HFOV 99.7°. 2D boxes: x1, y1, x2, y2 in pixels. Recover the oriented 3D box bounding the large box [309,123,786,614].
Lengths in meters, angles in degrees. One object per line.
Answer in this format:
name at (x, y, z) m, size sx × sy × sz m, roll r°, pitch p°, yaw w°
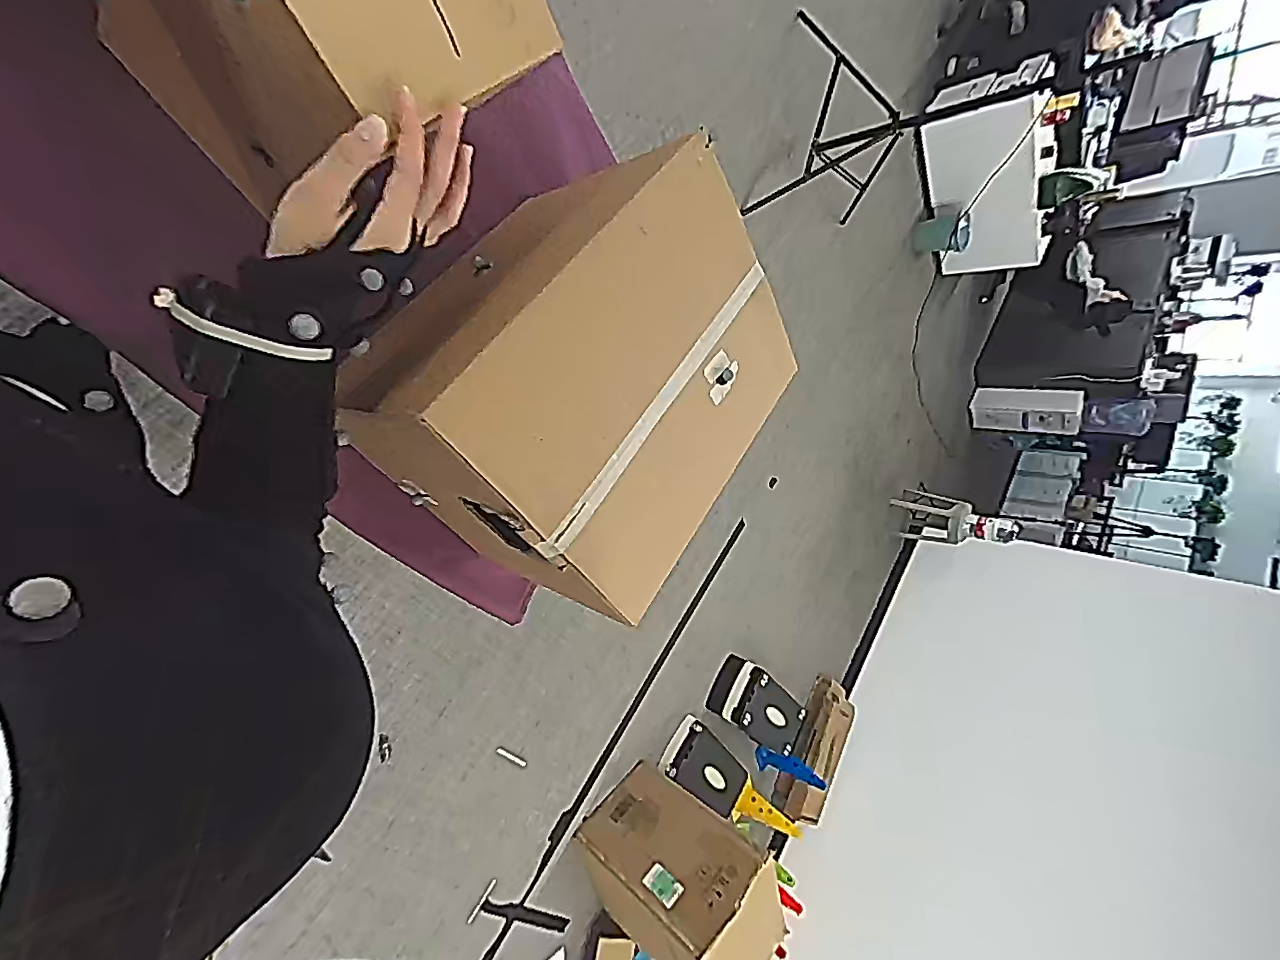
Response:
large box at (-0.085, -0.122, 0.645) m, size 0.408 × 0.320 × 0.320 m, roll -56°, pitch 133°, yaw -23°
